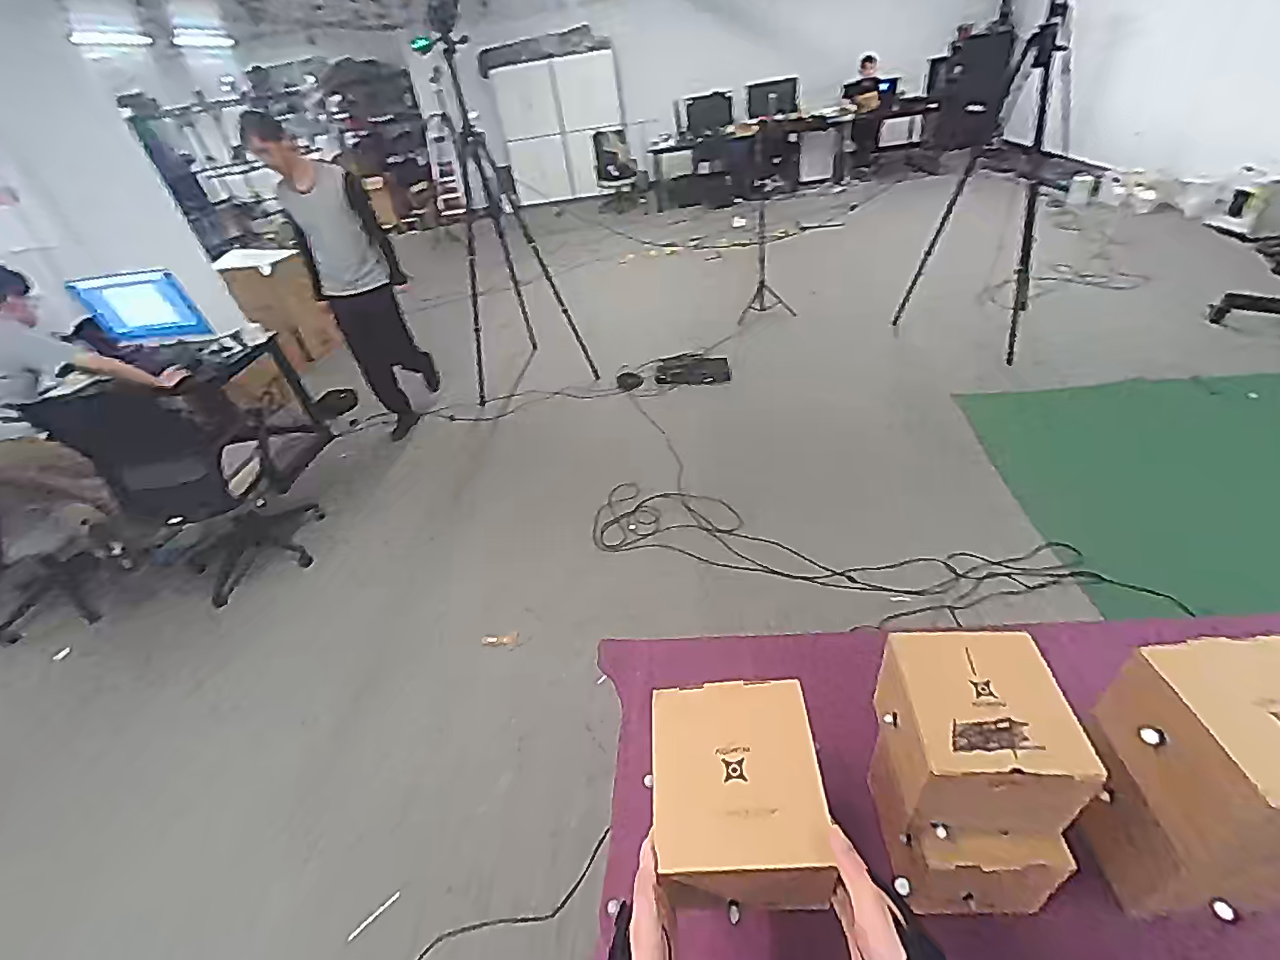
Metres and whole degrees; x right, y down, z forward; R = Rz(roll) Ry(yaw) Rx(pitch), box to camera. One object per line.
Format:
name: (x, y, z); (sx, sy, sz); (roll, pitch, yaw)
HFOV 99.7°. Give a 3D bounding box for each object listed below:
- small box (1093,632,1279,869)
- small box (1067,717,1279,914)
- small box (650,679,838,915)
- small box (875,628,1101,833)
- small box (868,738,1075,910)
small box: (0.665, 0.298, 0.603); (0.168, 0.176, 0.179); (-8, 36, 4)
small box: (0.687, 0.428, 0.700); (0.168, 0.176, 0.179); (-7, 37, 5)
small box: (0.103, 0.341, 0.583); (0.168, 0.176, 0.179); (-7, 41, 7)
small box: (0.398, 0.304, 0.659); (0.168, 0.176, 0.179); (-3, 37, 9)
small box: (0.425, 0.451, 0.734); (0.168, 0.176, 0.179); (-5, 38, 5)
